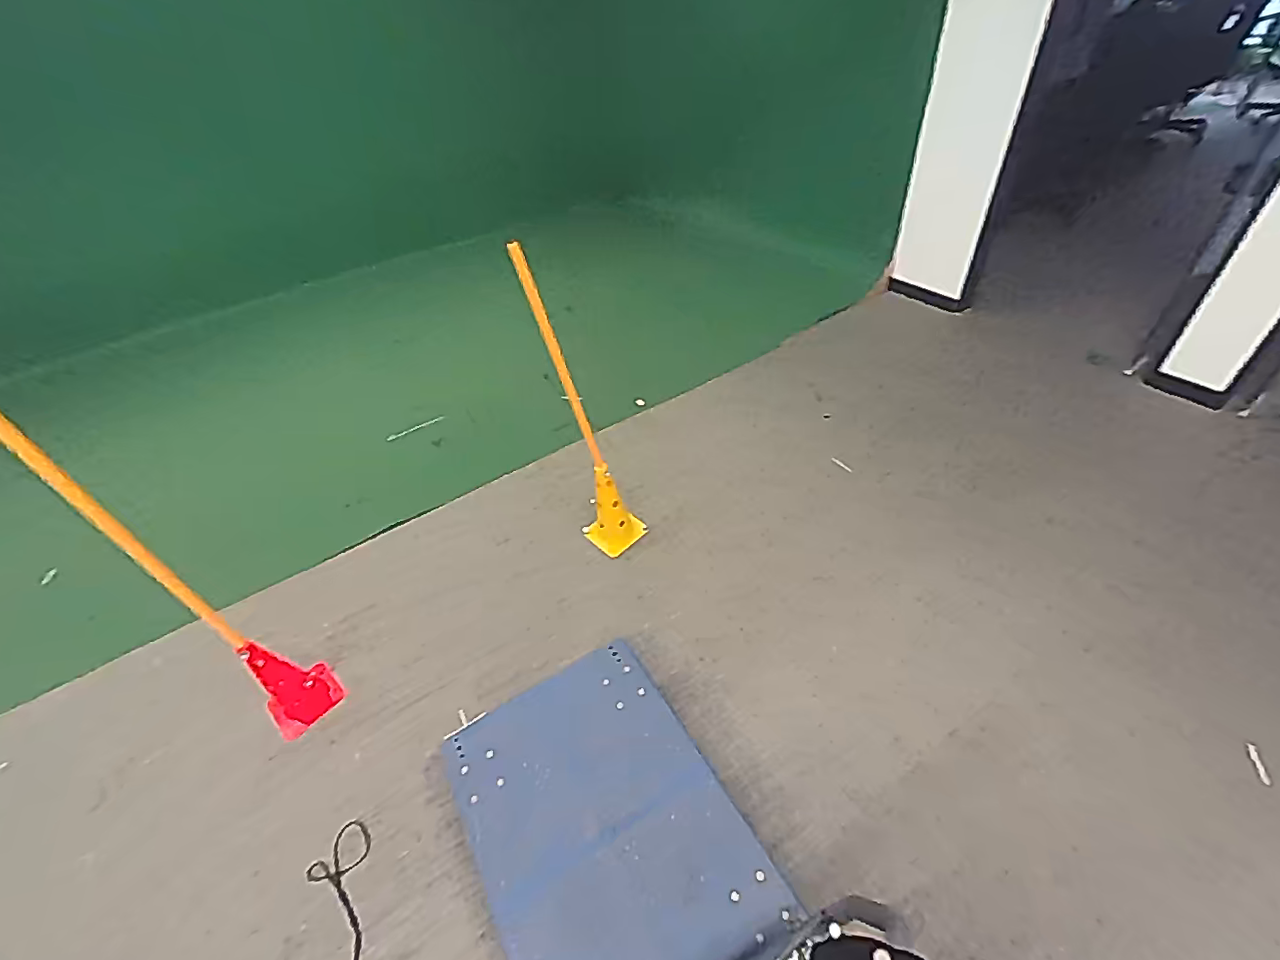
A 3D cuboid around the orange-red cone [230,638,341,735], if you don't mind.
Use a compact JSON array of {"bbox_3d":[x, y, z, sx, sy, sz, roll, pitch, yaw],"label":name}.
[{"bbox_3d":[-1.119,0.586,1.645,0.198,0.360,0.199,30,57,33],"label":"orange-red cone"}]
